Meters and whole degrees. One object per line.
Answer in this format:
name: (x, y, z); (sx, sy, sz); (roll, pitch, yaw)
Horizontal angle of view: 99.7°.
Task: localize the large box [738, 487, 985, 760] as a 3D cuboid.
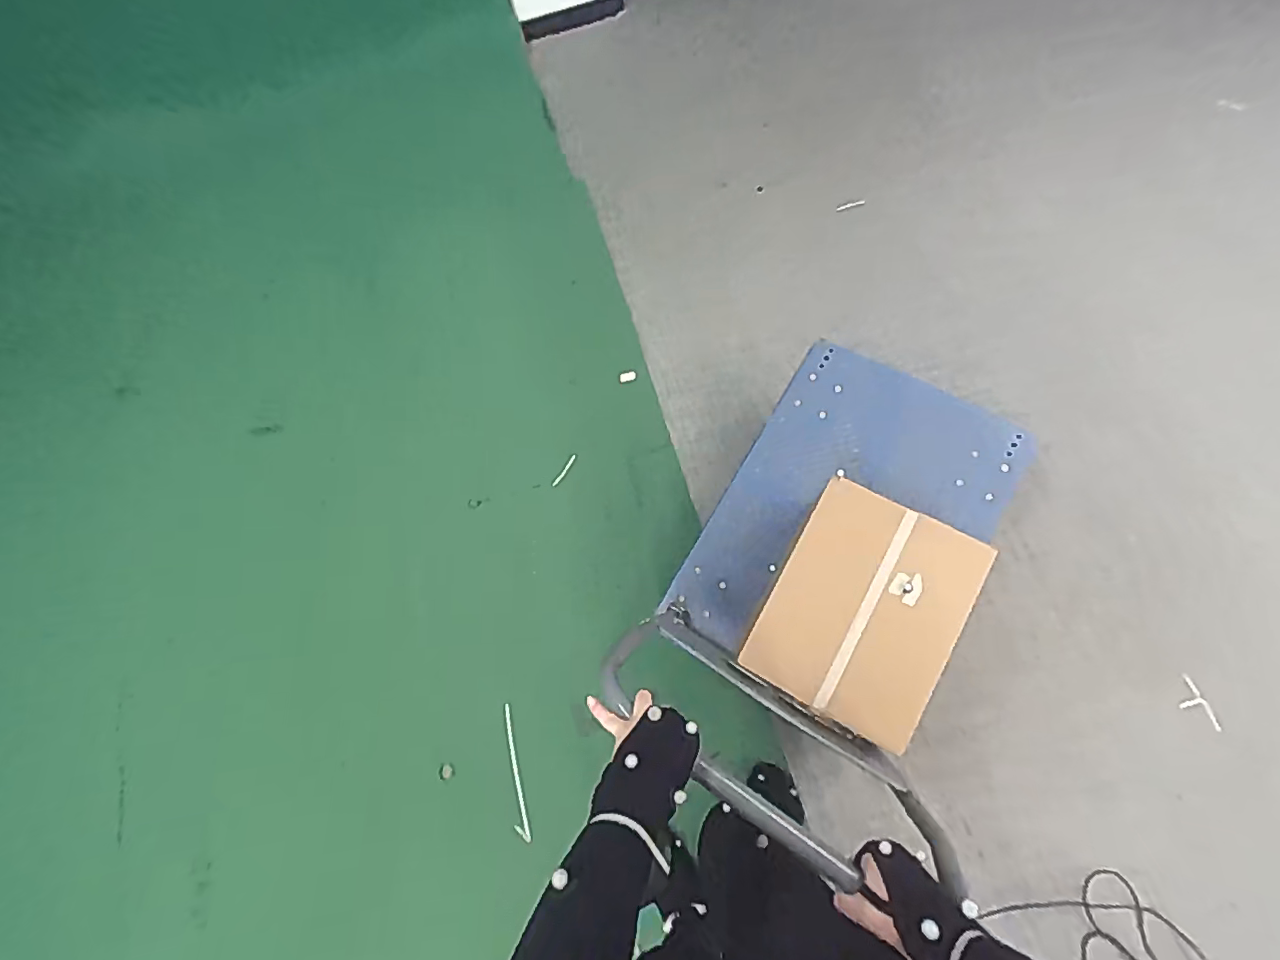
large box: (0.429, 0.287, 1.137); (0.320, 0.320, 0.408); (28, 82, 14)
